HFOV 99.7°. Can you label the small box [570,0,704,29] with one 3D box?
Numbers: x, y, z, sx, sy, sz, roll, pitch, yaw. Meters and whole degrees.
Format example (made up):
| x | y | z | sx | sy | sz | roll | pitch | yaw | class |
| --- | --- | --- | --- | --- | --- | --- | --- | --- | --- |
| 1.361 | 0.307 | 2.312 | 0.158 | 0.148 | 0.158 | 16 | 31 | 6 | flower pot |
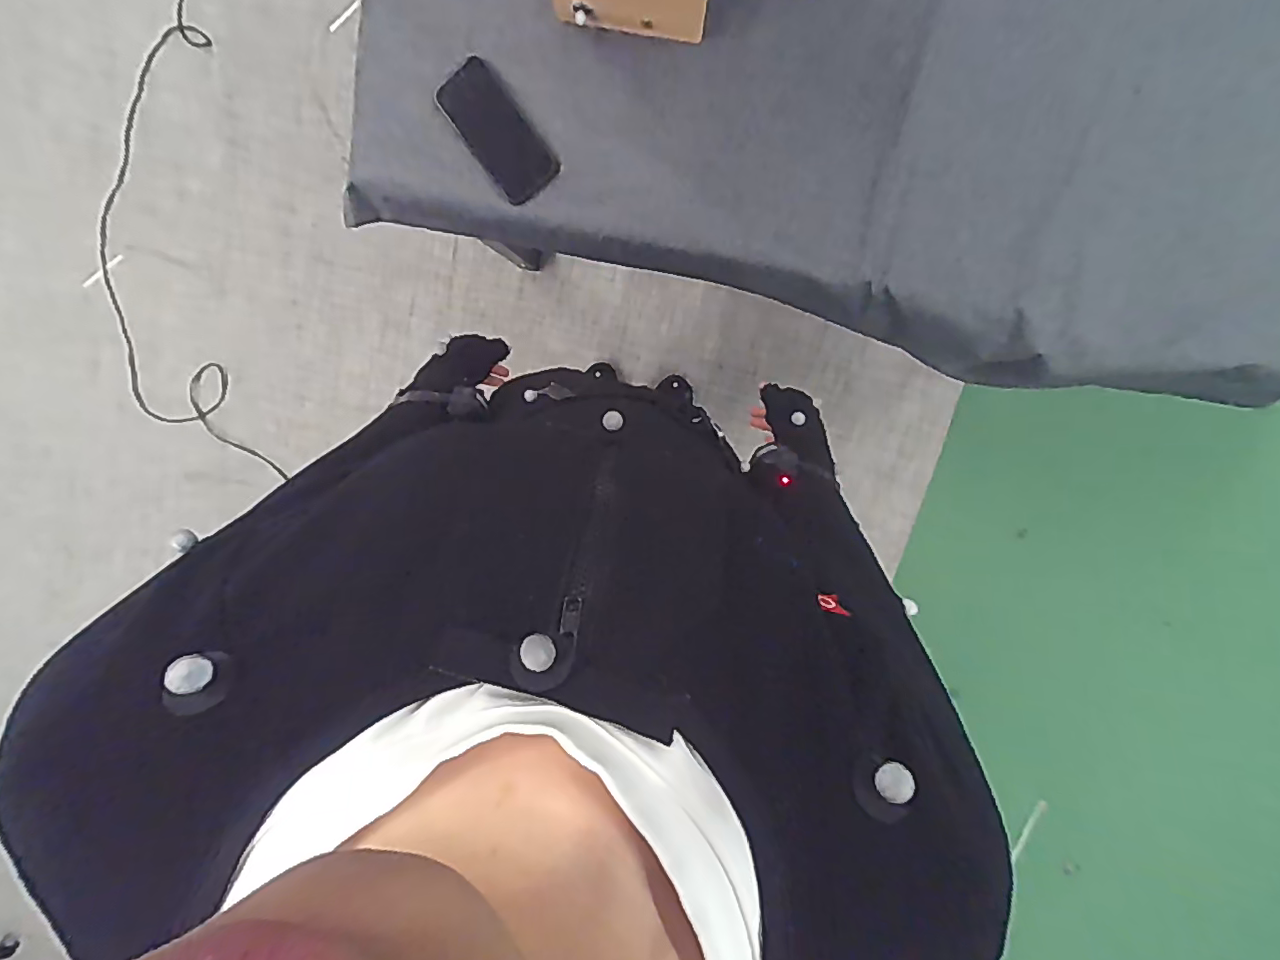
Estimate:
| x | y | z | sx | sy | sz | roll | pitch | yaw | class |
| --- | --- | --- | --- | --- | --- | --- | --- | --- | --- |
| -0.003 | -0.582 | 0.515 | 0.168 | 0.176 | 0.179 | 9 | 102 | -1 | small box |
